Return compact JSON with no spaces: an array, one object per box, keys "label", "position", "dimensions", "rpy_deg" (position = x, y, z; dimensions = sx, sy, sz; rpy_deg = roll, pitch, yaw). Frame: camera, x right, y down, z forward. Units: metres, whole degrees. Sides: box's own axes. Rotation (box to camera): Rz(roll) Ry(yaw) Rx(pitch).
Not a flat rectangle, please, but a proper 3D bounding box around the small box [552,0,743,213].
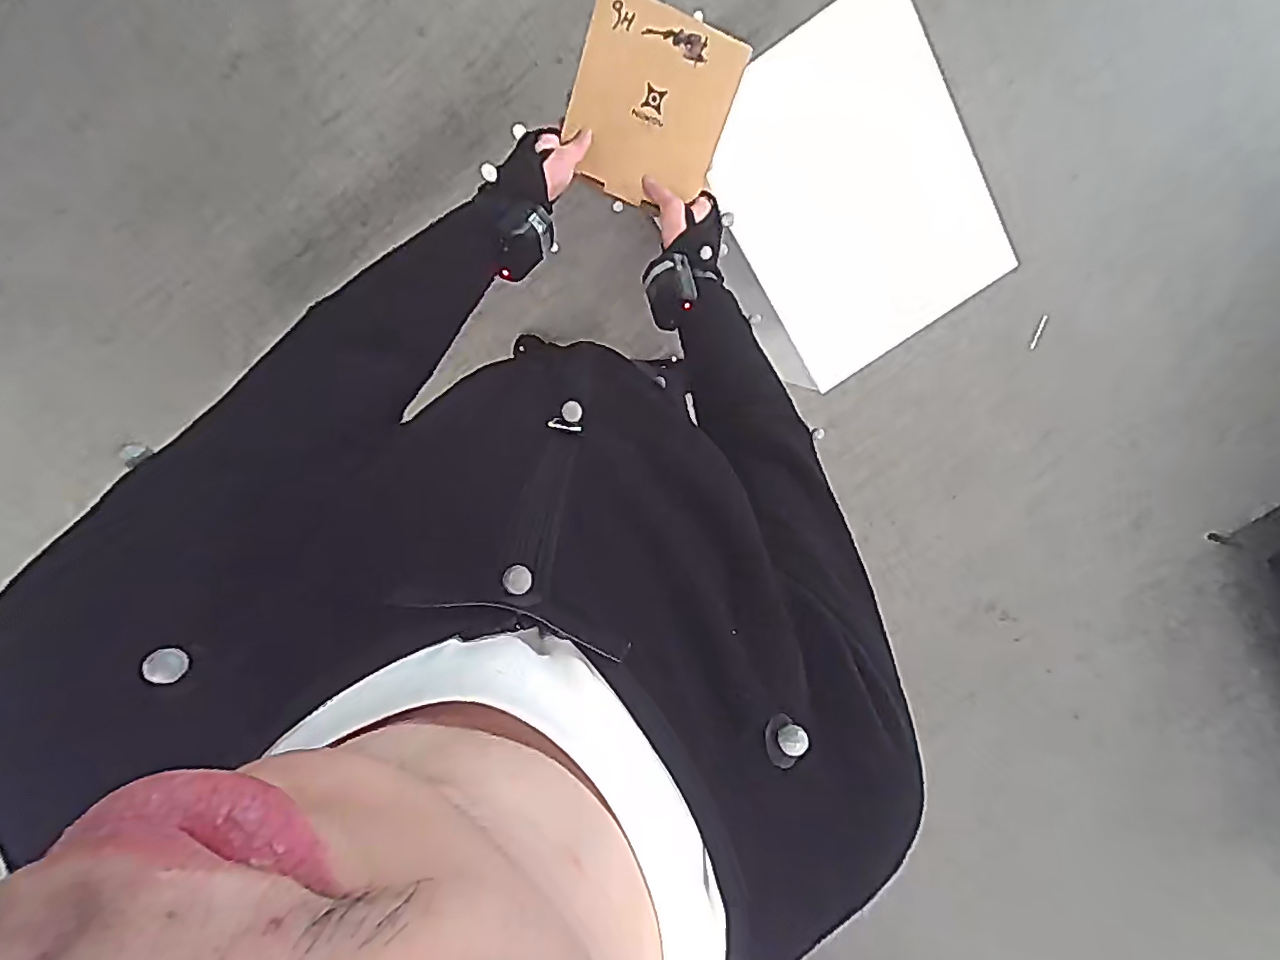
[{"label":"small box","position":[0.002,-0.439,0.651],"dimensions":[0.168,0.176,0.179],"rpy_deg":[15,112,-10]}]
